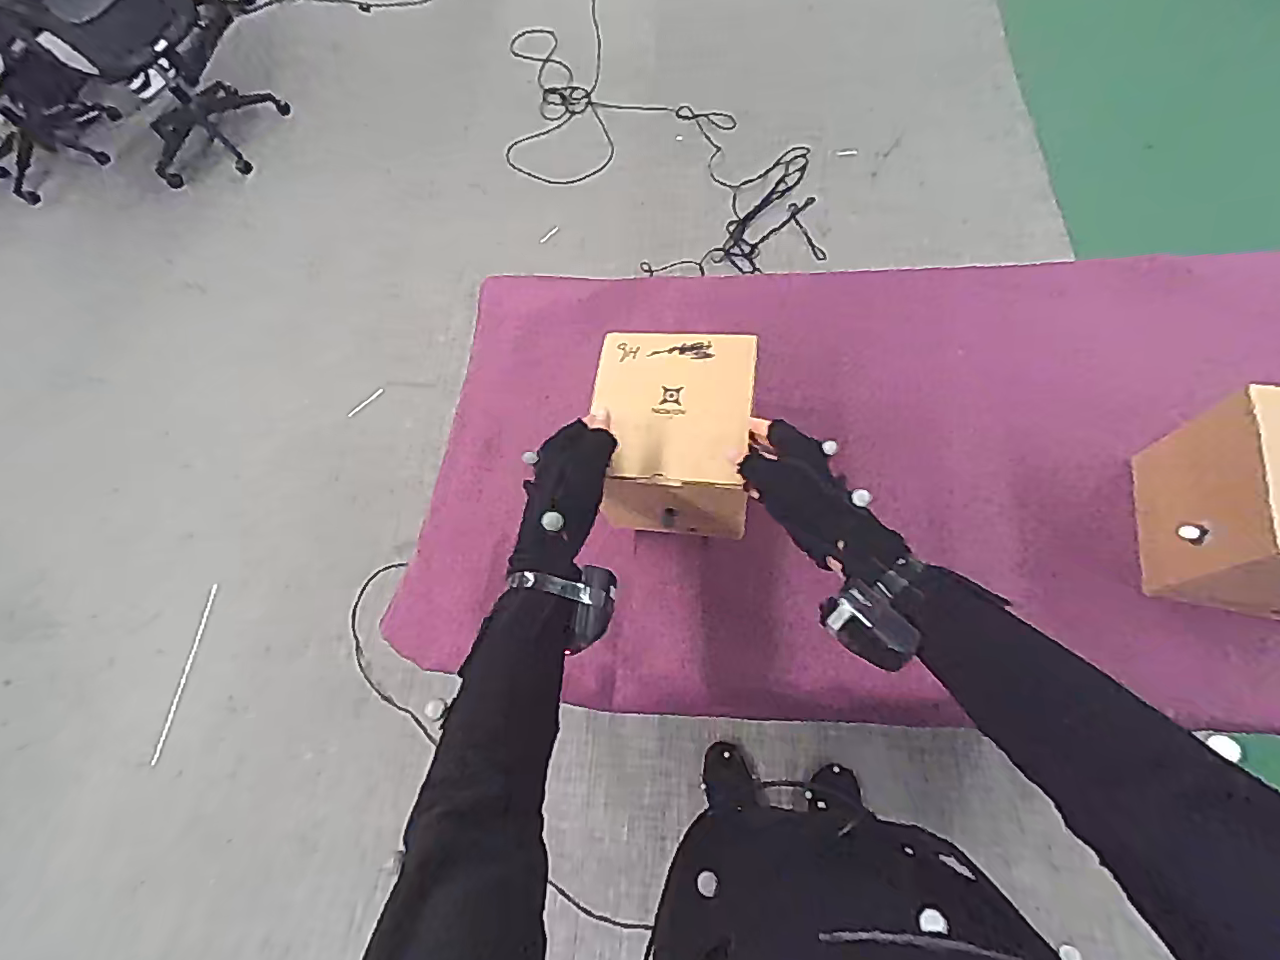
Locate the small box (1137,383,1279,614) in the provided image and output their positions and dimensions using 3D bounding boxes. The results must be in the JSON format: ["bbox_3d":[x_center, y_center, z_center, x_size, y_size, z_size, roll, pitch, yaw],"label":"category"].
[{"bbox_3d":[0.646,0.031,0.538,0.168,0.176,0.179,10,69,14],"label":"small box"}]

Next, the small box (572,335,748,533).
[{"bbox_3d":[0.036,-0.046,0.626,0.168,0.176,0.179,4,68,12],"label":"small box"}]
